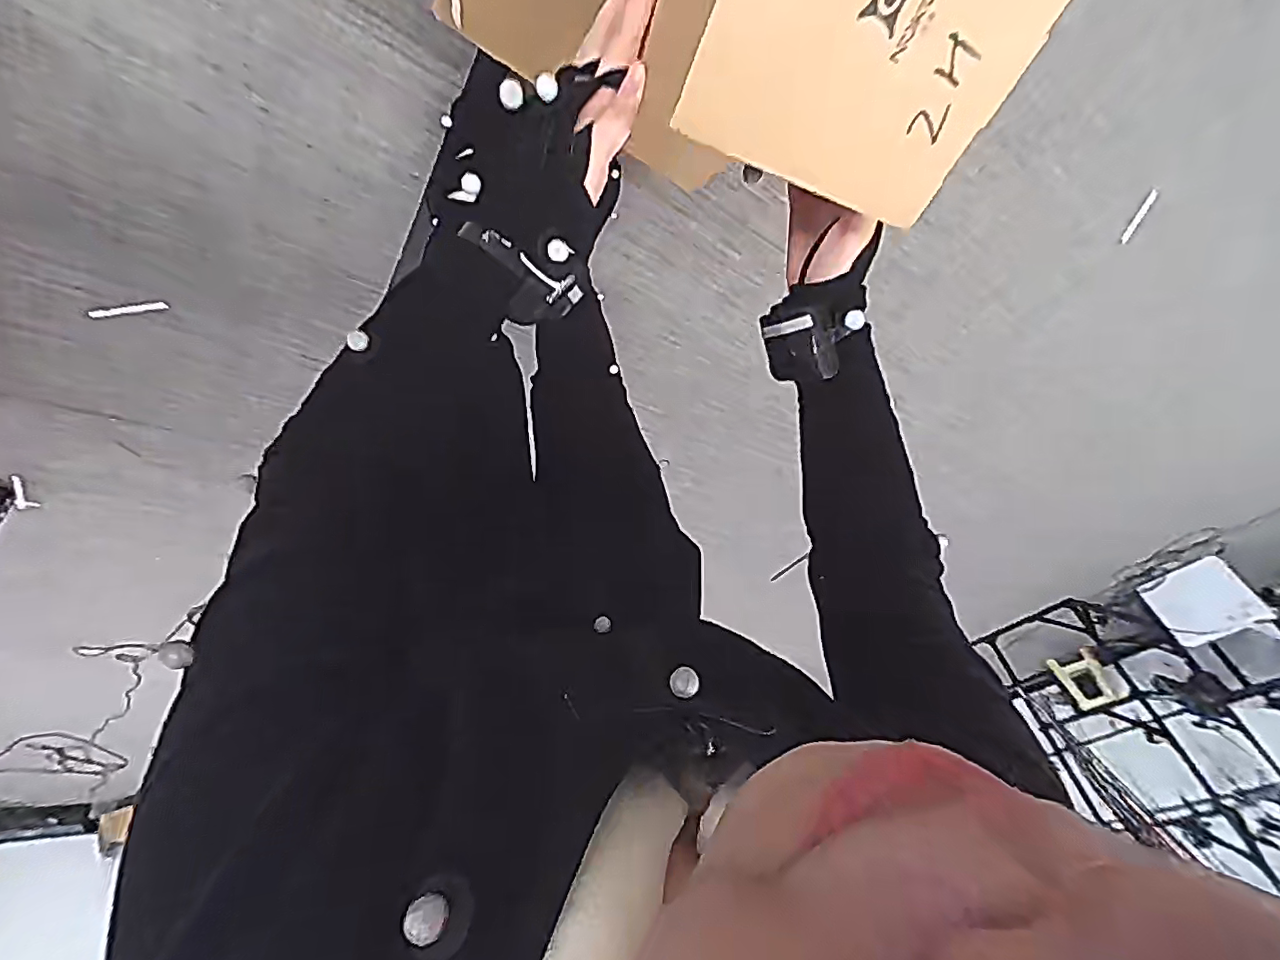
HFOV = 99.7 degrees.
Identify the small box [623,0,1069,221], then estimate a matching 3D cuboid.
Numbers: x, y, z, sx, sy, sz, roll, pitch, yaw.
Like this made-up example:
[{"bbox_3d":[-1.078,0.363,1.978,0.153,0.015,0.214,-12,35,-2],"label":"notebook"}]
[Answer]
[{"bbox_3d":[0.105,-0.284,0.305,0.179,0.176,0.168,8,135,-25],"label":"small box"}]
